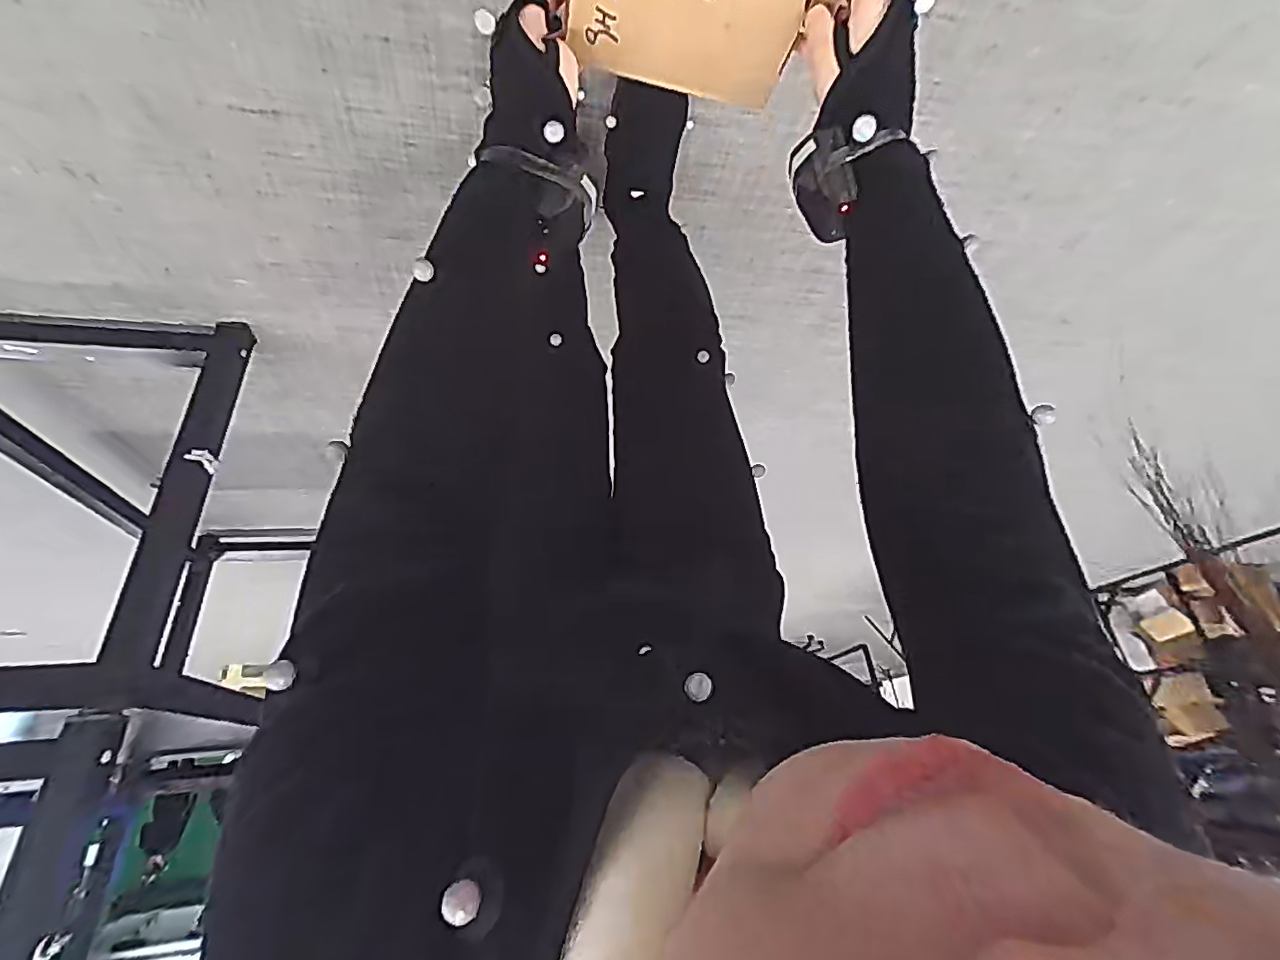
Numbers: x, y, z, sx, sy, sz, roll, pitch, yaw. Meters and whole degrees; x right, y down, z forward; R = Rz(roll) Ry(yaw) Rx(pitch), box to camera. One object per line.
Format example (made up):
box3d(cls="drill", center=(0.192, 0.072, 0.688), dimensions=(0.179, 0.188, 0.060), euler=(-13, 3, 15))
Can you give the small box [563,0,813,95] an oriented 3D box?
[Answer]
box3d(cls="small box", center=(0.043, -0.432, 0.391), dimensions=(0.179, 0.176, 0.168), euler=(4, 157, -16))
